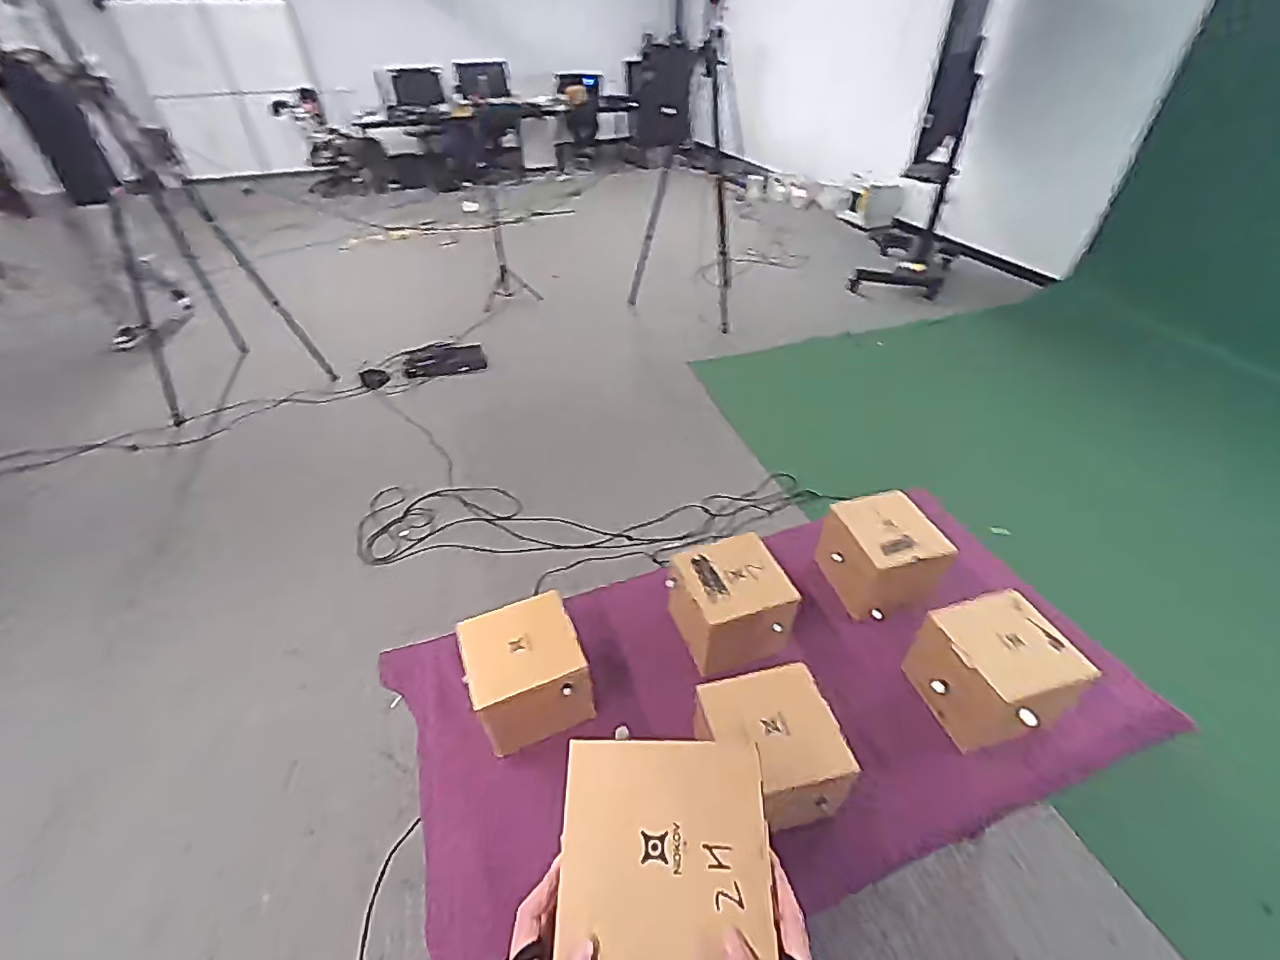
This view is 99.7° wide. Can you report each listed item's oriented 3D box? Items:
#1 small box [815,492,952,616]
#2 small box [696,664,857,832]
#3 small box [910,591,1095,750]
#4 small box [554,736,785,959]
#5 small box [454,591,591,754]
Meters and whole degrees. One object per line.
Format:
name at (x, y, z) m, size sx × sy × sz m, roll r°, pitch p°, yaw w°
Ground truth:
small box at (0.476, 0.154, 1.088) m, size 0.168 × 0.176 × 0.179 m, roll -10°, pitch 41°, yaw -10°
small box at (0.186, 0.404, 0.803) m, size 0.179 × 0.176 × 0.168 m, roll -9°, pitch 40°, yaw -8°
small box at (0.576, 0.316, 0.894) m, size 0.179 × 0.176 × 0.168 m, roll -12°, pitch 41°, yaw -10°
small box at (0.029, 0.347, 0.508) m, size 0.179 × 0.176 × 0.168 m, roll 0°, pitch 57°, yaw 3°
small box at (-0.193, 0.323, 0.908) m, size 0.179 × 0.176 × 0.168 m, roll -16°, pitch 43°, yaw -18°
